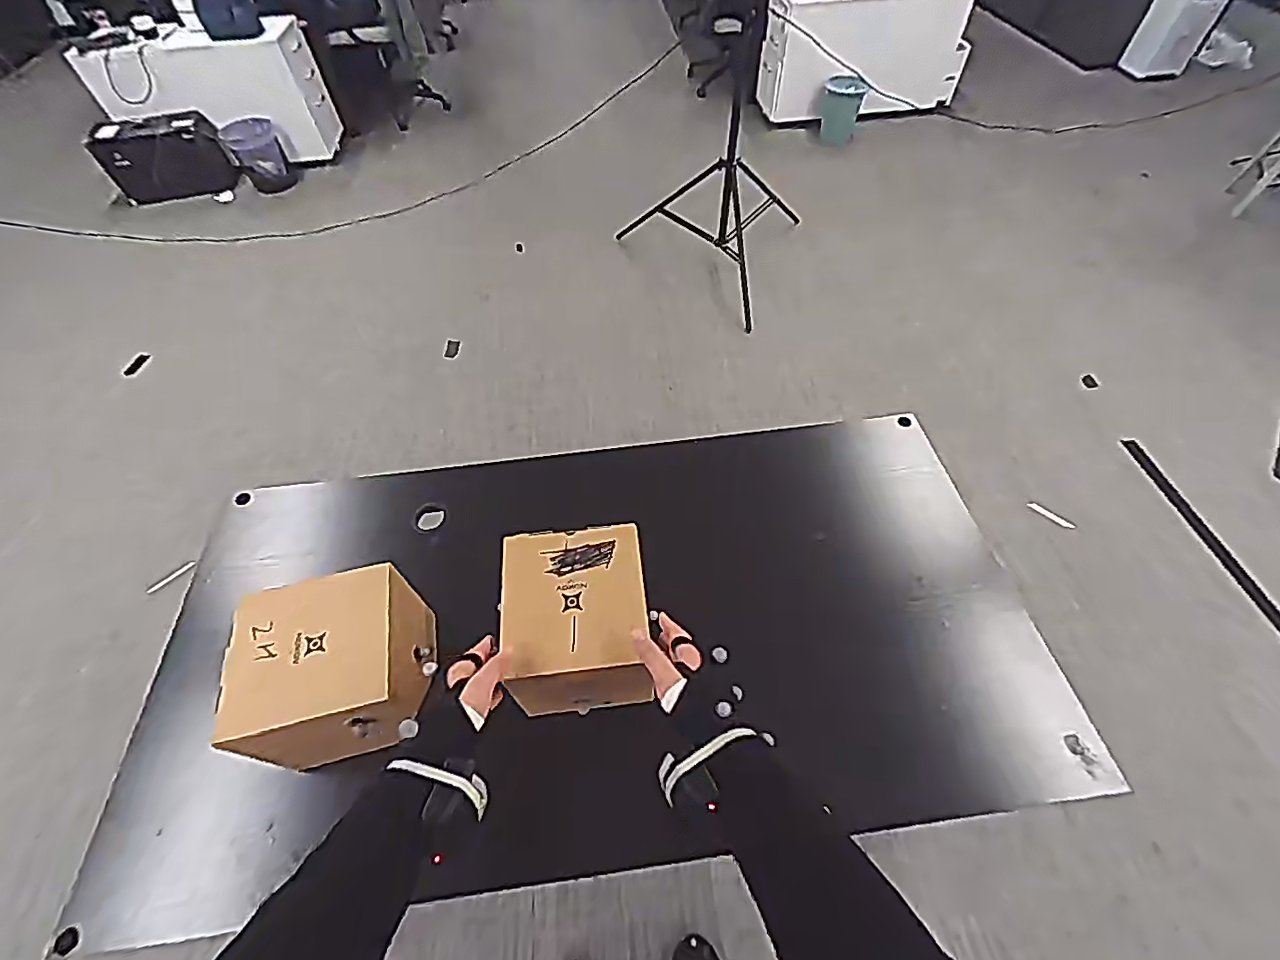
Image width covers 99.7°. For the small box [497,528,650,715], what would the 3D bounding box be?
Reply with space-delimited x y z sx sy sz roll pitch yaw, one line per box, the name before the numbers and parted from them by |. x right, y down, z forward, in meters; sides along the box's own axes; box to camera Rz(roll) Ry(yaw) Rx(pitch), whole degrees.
small box | -0.078 0.183 0.689 0.168 0.176 0.179 -6 55 -2

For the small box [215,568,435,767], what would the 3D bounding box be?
small box | -0.362 0.233 0.663 0.179 0.176 0.168 -13 55 -7
